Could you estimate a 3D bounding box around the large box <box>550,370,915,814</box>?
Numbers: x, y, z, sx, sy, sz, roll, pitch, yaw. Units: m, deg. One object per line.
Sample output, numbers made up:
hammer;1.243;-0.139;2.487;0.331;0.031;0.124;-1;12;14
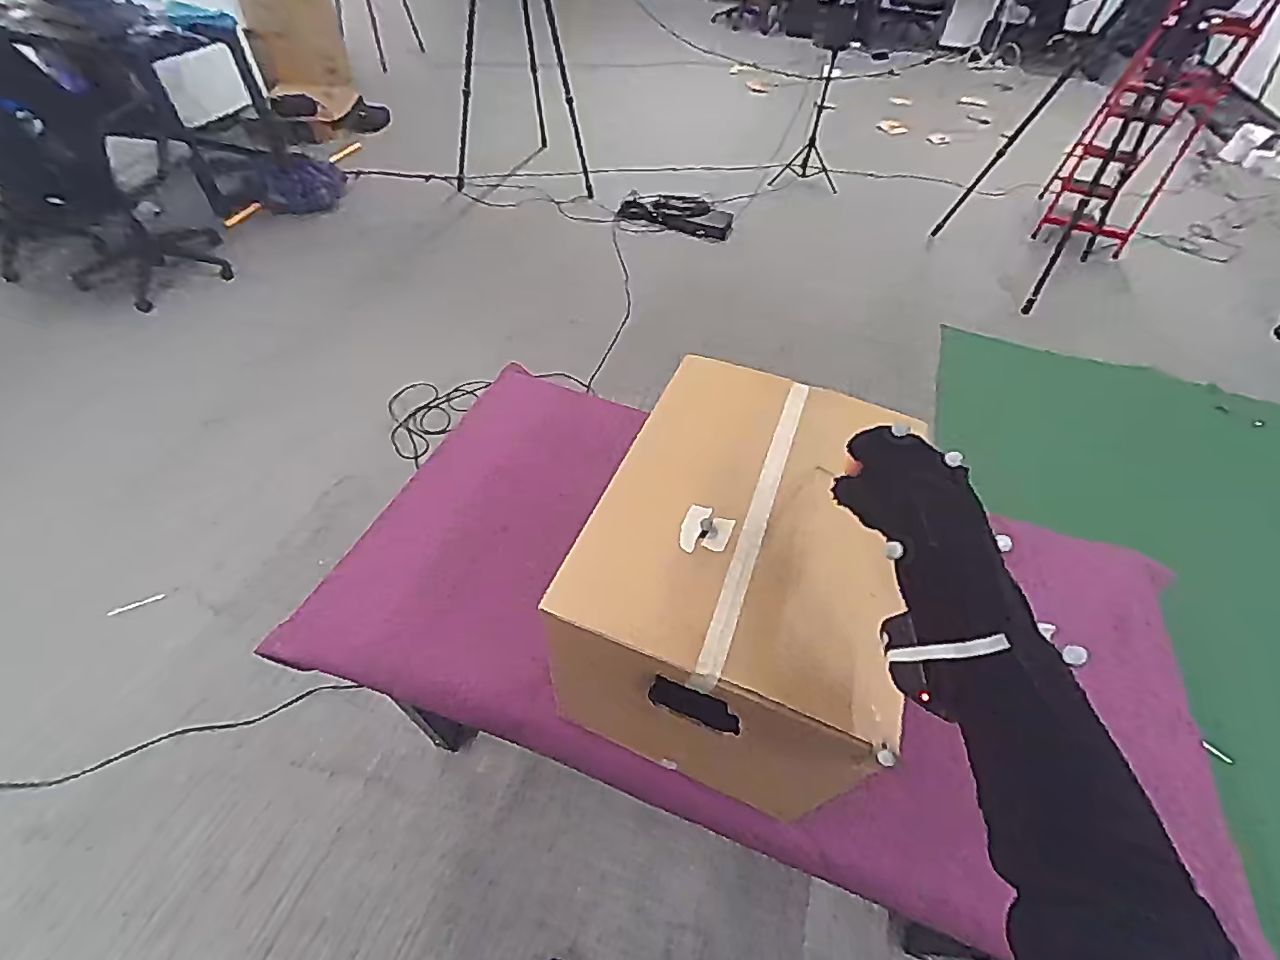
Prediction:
large box;0.119;0.132;0.697;0.320;0.320;0.408;19;52;12
